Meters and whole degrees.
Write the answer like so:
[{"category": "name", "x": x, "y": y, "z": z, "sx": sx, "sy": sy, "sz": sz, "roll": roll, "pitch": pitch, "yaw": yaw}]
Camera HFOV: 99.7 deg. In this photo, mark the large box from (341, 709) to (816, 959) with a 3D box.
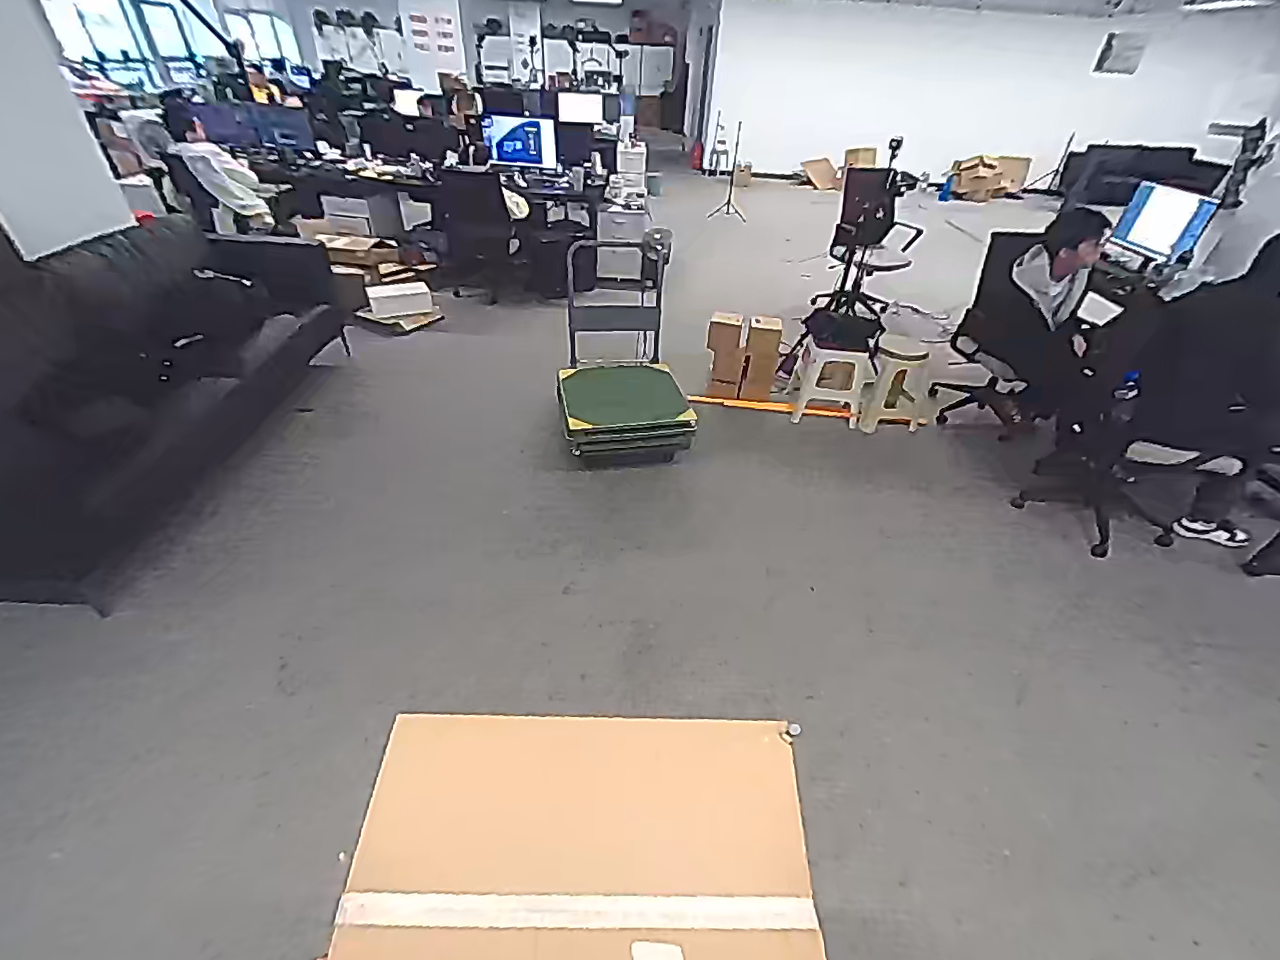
[{"category": "large box", "x": -0.055, "y": 0.461, "z": 0.592, "sx": 0.408, "sy": 0.320, "sz": 0.320, "roll": 2, "pitch": 51, "yaw": -1}]
